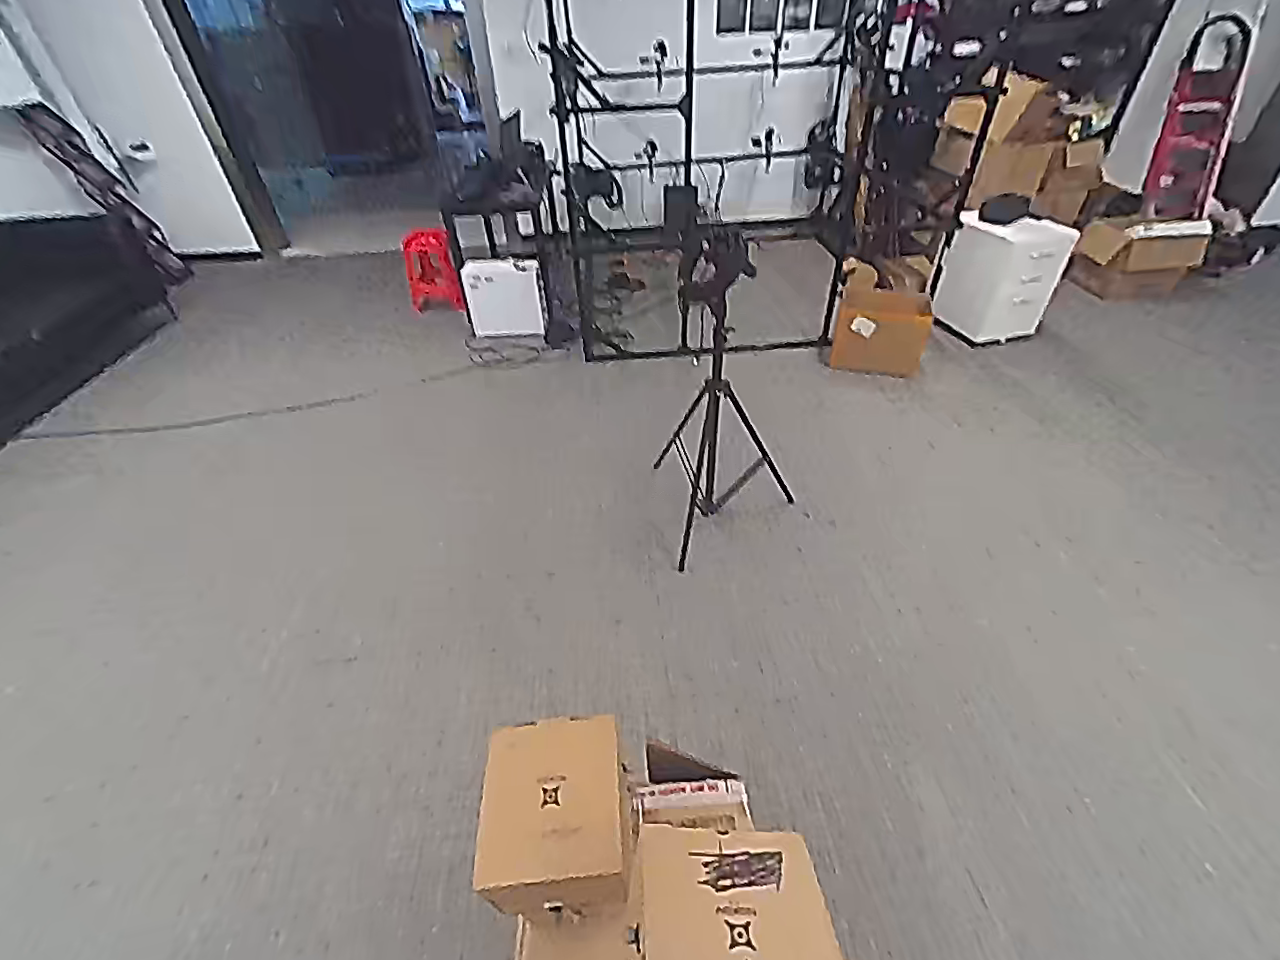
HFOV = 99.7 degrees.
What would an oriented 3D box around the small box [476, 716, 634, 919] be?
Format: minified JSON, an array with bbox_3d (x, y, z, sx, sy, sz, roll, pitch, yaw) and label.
[{"bbox_3d":[-0.099,0.434,0.698,0.168,0.176,0.179,-7,43,-1],"label":"small box"}]

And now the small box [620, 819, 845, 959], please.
[{"bbox_3d":[0.072,0.444,0.477,0.168,0.176,0.179,7,20,-4],"label":"small box"}]
